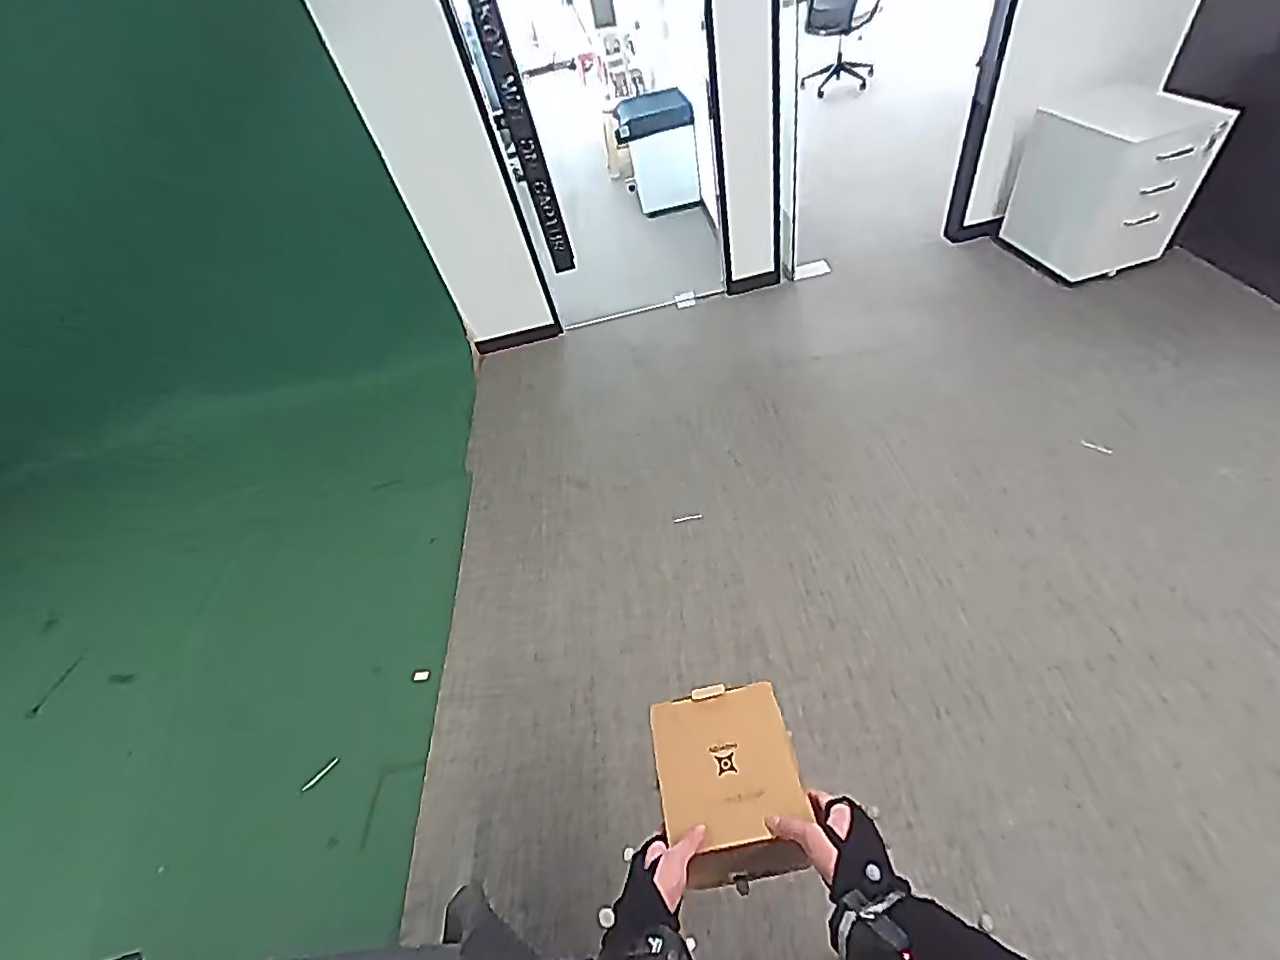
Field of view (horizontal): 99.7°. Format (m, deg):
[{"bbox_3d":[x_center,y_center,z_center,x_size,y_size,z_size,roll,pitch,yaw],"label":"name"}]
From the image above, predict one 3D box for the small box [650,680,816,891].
[{"bbox_3d":[0.113,0.387,0.686,0.168,0.176,0.179,-12,41,4],"label":"small box"}]
